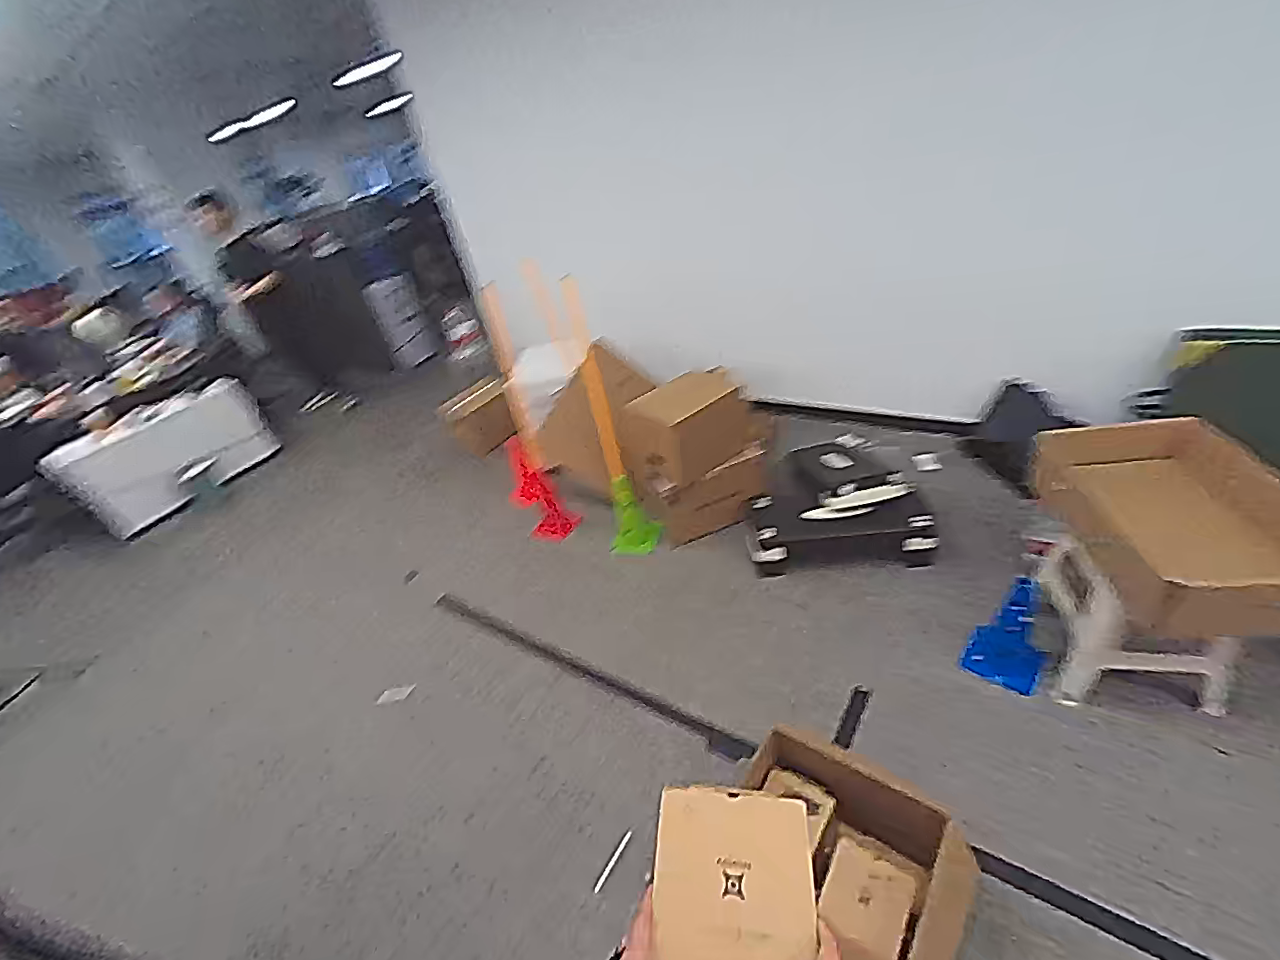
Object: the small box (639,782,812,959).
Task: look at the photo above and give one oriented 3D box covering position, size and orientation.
[{"bbox_3d":[0.091,0.480,0.611,0.168,0.176,0.179,3,35,7],"label":"small box"}]
